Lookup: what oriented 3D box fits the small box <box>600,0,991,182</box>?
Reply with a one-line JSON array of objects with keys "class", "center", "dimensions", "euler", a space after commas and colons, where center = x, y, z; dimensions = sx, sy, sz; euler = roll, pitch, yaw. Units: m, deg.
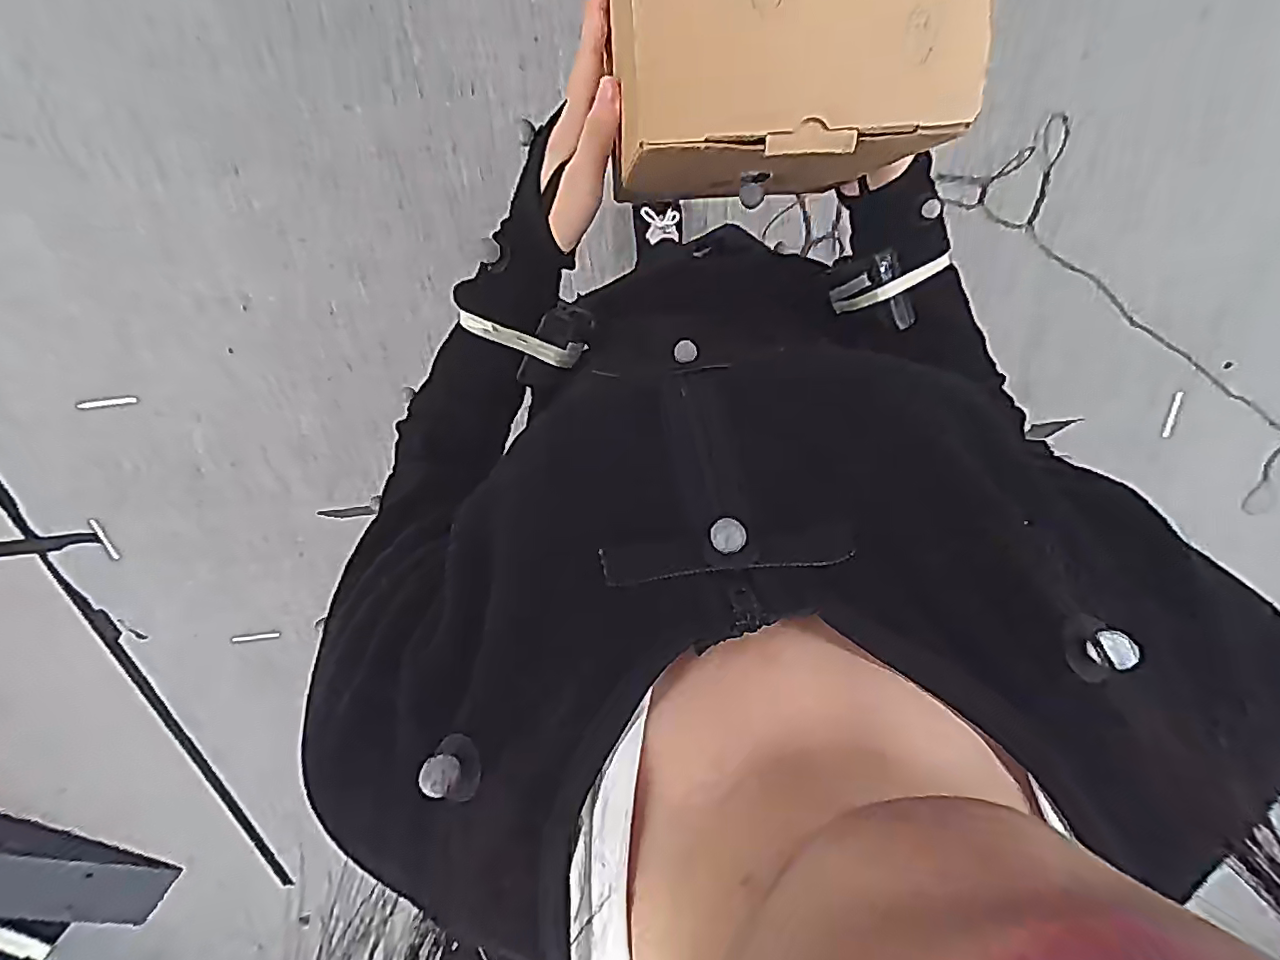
[{"class": "small box", "center": [0.066, -0.273, 0.299], "dimensions": [0.168, 0.176, 0.179], "euler": [-6, 111, -6]}]
